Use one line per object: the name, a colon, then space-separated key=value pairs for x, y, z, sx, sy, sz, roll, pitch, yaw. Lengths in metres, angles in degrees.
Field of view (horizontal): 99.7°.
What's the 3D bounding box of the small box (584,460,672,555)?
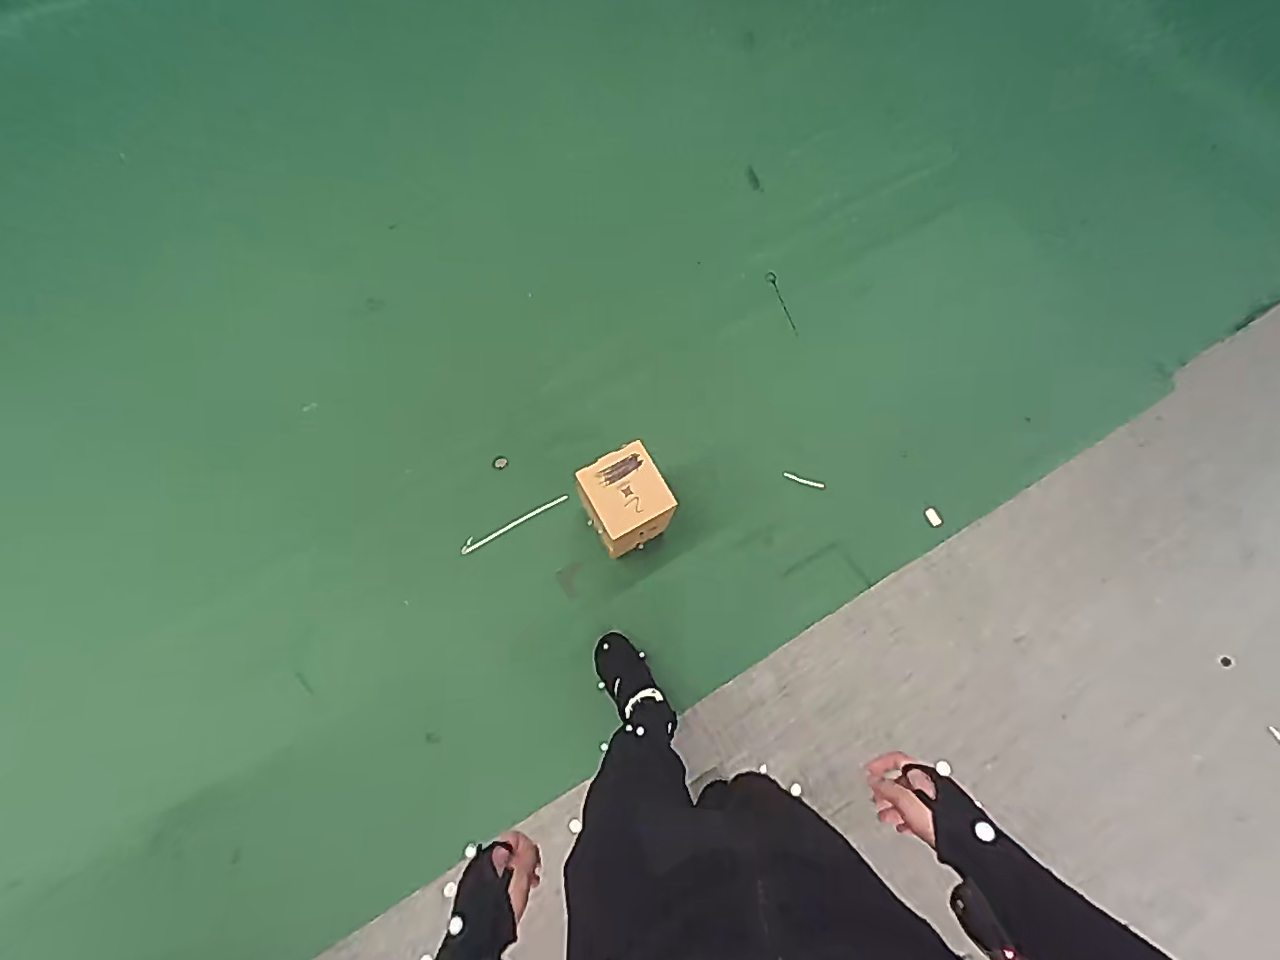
small box: x=-0.033 y=0.079 z=1.418 sx=0.168 sy=0.176 sz=0.179 roll=-28 pitch=78 yaw=-8
